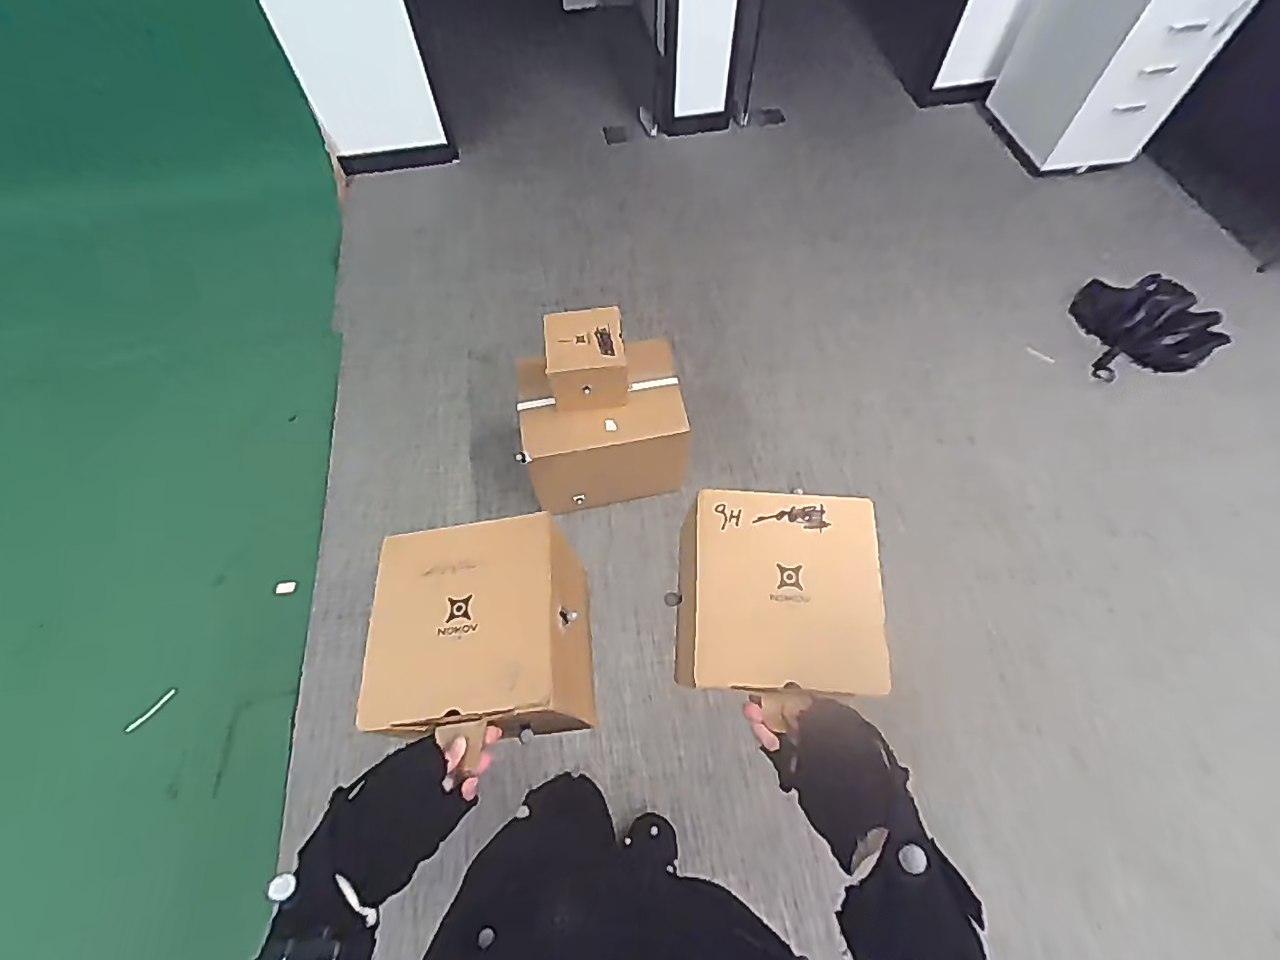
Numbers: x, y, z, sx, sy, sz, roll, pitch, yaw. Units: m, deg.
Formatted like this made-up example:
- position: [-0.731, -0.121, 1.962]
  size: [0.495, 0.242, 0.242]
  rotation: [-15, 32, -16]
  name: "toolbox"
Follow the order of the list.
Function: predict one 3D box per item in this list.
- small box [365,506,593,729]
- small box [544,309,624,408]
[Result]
- position: [-0.146, 0.150, 0.552]
  size: [0.168, 0.176, 0.179]
  rotation: [-9, 59, 3]
  name: "small box"
- position: [-0.128, -0.283, 1.284]
  size: [0.179, 0.176, 0.168]
  rotation: [-3, 65, -2]
  name: "small box"
